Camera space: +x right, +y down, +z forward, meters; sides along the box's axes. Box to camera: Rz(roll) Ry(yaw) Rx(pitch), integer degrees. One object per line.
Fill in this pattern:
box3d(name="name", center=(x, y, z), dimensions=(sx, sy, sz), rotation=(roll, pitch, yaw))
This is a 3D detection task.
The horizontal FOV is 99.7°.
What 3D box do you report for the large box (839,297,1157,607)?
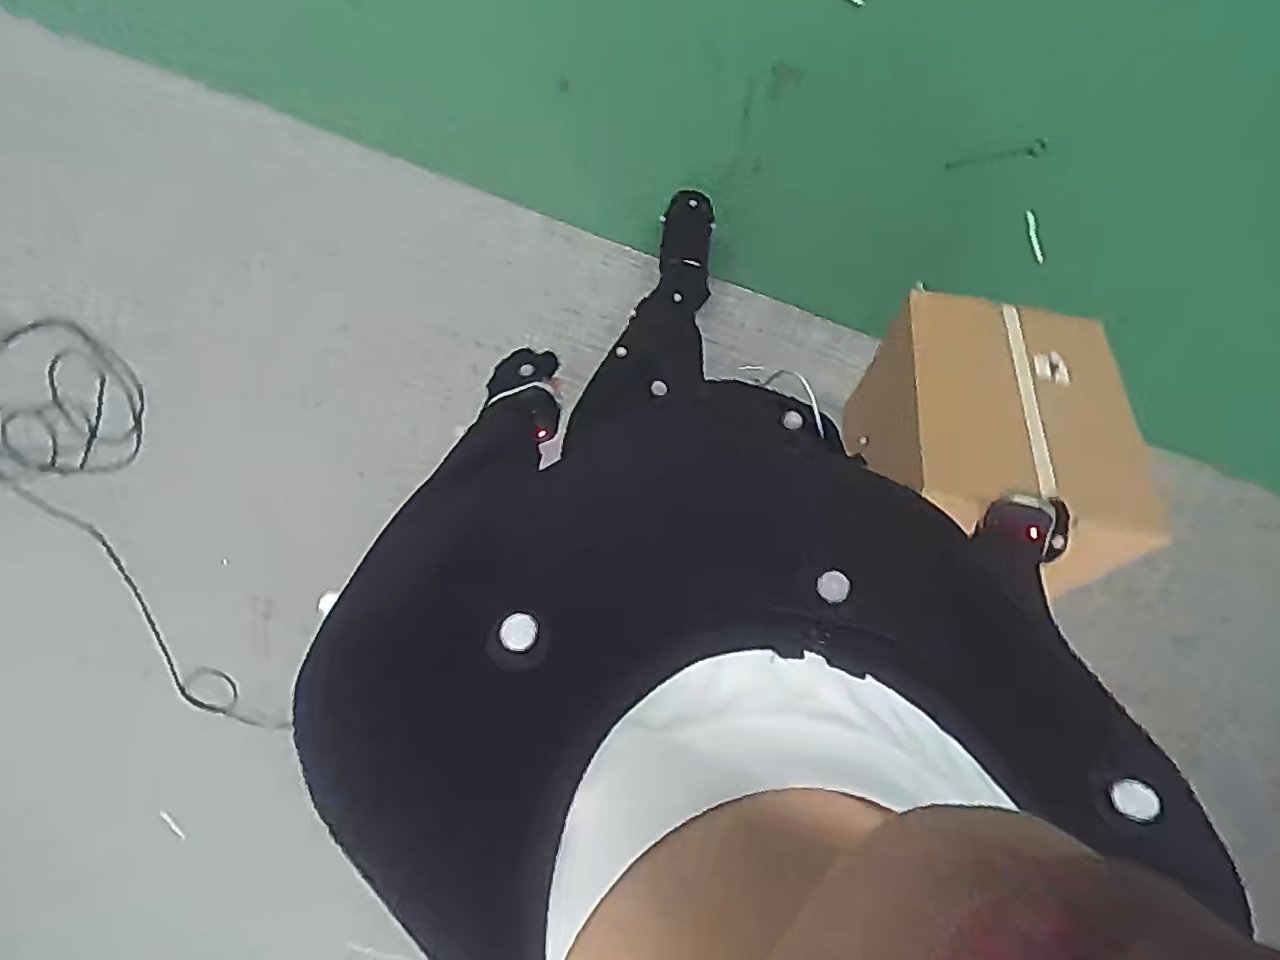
box3d(name="large box", center=(0.548, -0.043, 0.934), dimensions=(0.320, 0.408, 0.320), rotation=(12, 147, 4))
